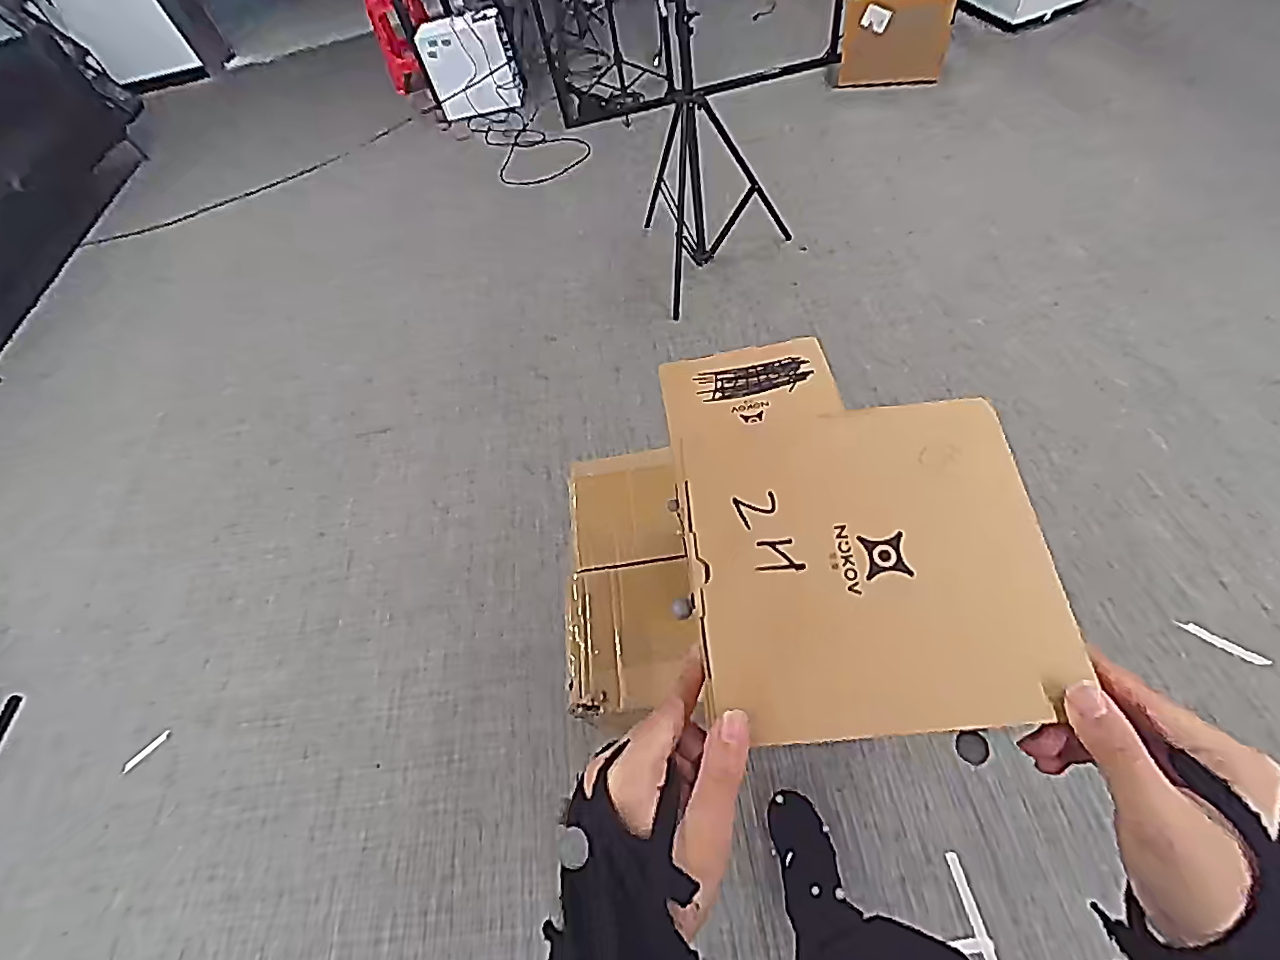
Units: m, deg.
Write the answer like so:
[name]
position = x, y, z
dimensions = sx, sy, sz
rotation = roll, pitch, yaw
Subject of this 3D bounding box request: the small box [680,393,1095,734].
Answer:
[small box]
position = 0.120, 0.064, 0.348
dimensions = 0.179, 0.176, 0.168
rotation = -6, 67, 4
